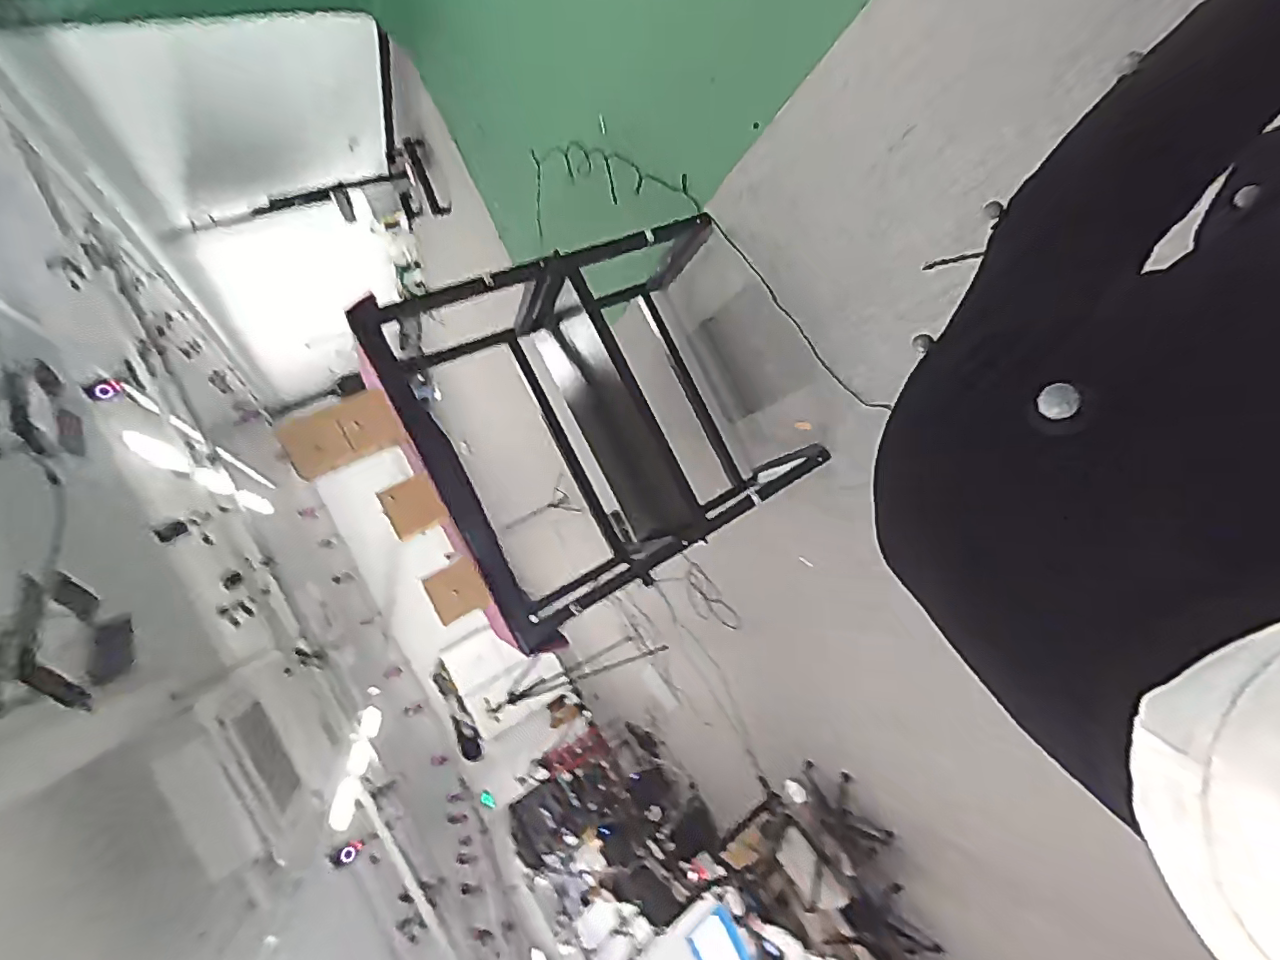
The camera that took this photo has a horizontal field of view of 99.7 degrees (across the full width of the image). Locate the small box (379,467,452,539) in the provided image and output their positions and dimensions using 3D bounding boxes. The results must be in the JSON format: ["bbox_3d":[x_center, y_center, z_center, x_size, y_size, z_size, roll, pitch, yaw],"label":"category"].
[{"bbox_3d":[-0.740,0.078,1.800,0.179,0.176,0.168,63,157,0],"label":"small box"}]

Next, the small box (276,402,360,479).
[{"bbox_3d":[-1.011,-0.125,1.722,0.179,0.176,0.168,63,156,-5],"label":"small box"}]

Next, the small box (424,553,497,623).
[{"bbox_3d":[-0.597,0.353,1.795,0.179,0.176,0.168,61,157,1],"label":"small box"}]

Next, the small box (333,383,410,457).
[{"bbox_3d":[-0.879,-0.196,1.786,0.179,0.176,0.168,64,156,-5],"label":"small box"}]
